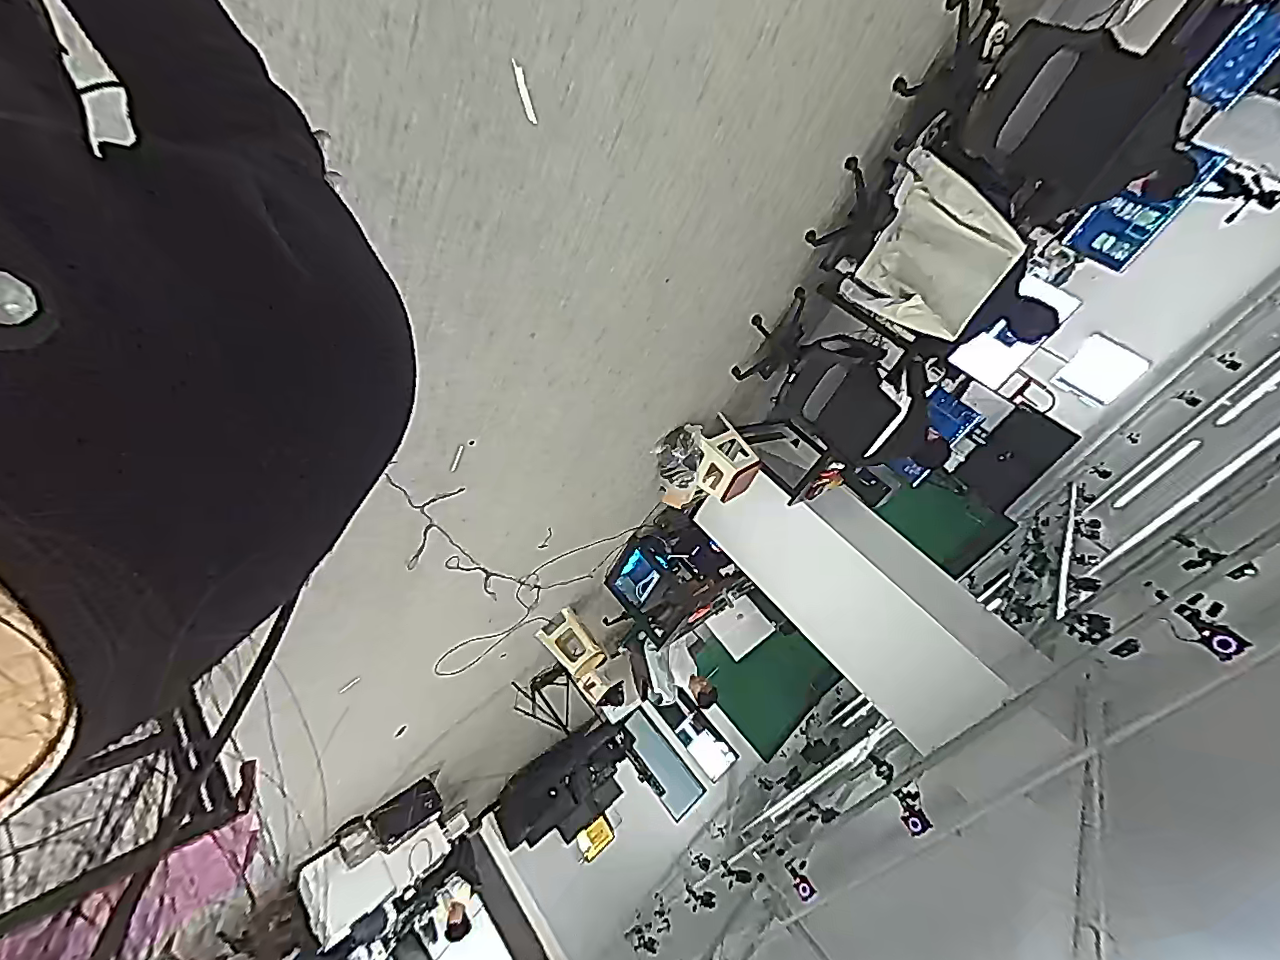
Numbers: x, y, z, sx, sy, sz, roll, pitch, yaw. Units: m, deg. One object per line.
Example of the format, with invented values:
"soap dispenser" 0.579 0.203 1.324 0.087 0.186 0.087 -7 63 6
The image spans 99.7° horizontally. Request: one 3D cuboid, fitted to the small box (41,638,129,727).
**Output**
"small box" -1.721 0.616 1.678 0.168 0.176 0.179 -12 142 -51
